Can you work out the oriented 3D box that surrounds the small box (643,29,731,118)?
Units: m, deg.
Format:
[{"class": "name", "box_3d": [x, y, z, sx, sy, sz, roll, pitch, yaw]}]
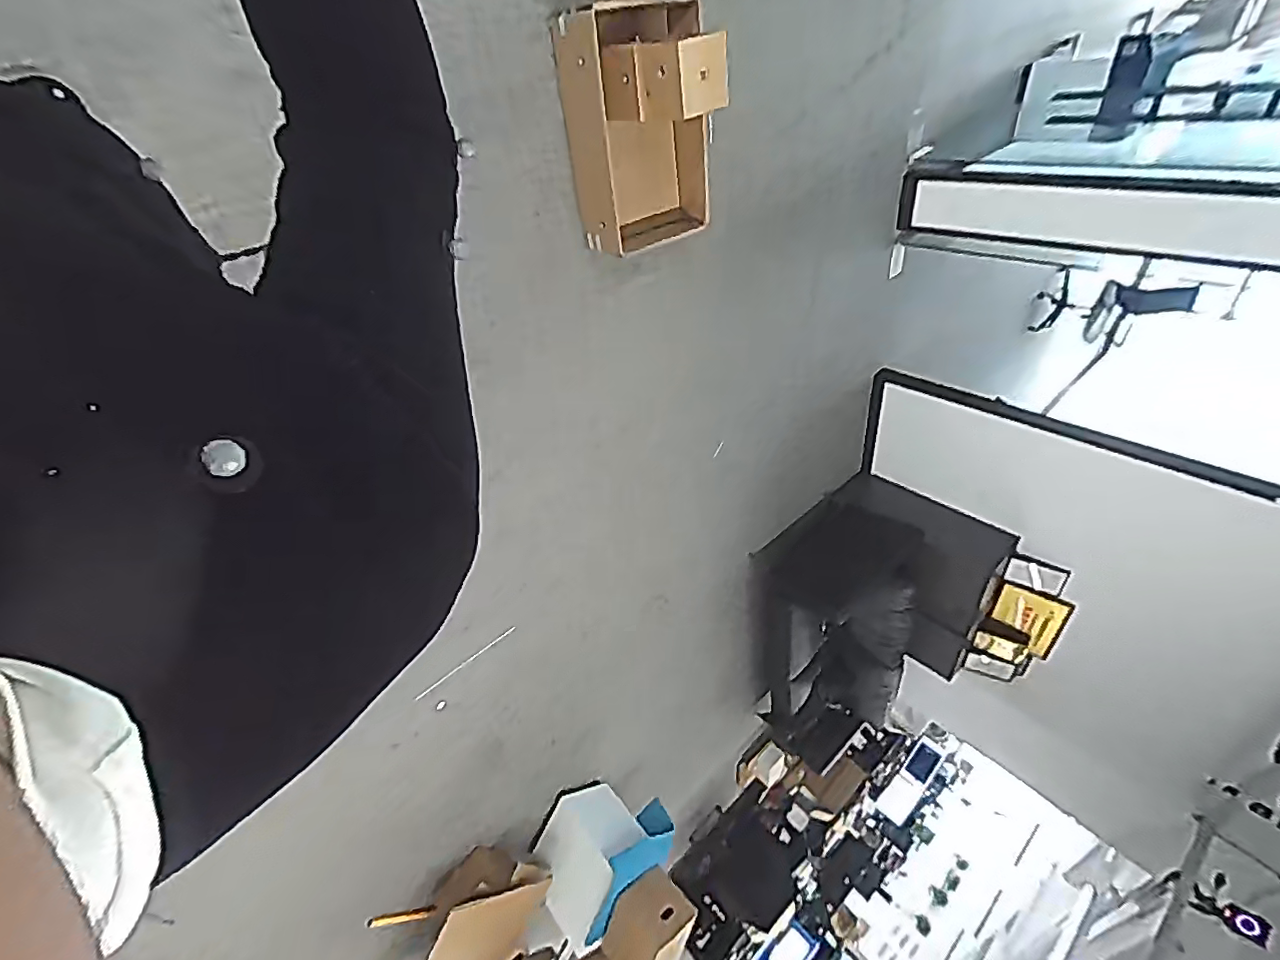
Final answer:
[{"class": "small box", "box_3d": [0.122, -1.090, 1.457, 0.179, 0.176, 0.168, -34, 135, -25]}]

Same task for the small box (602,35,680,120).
[{"class": "small box", "box_3d": [0.008, -1.154, 1.554, 0.168, 0.176, 0.179, -32, 136, -25]}]
